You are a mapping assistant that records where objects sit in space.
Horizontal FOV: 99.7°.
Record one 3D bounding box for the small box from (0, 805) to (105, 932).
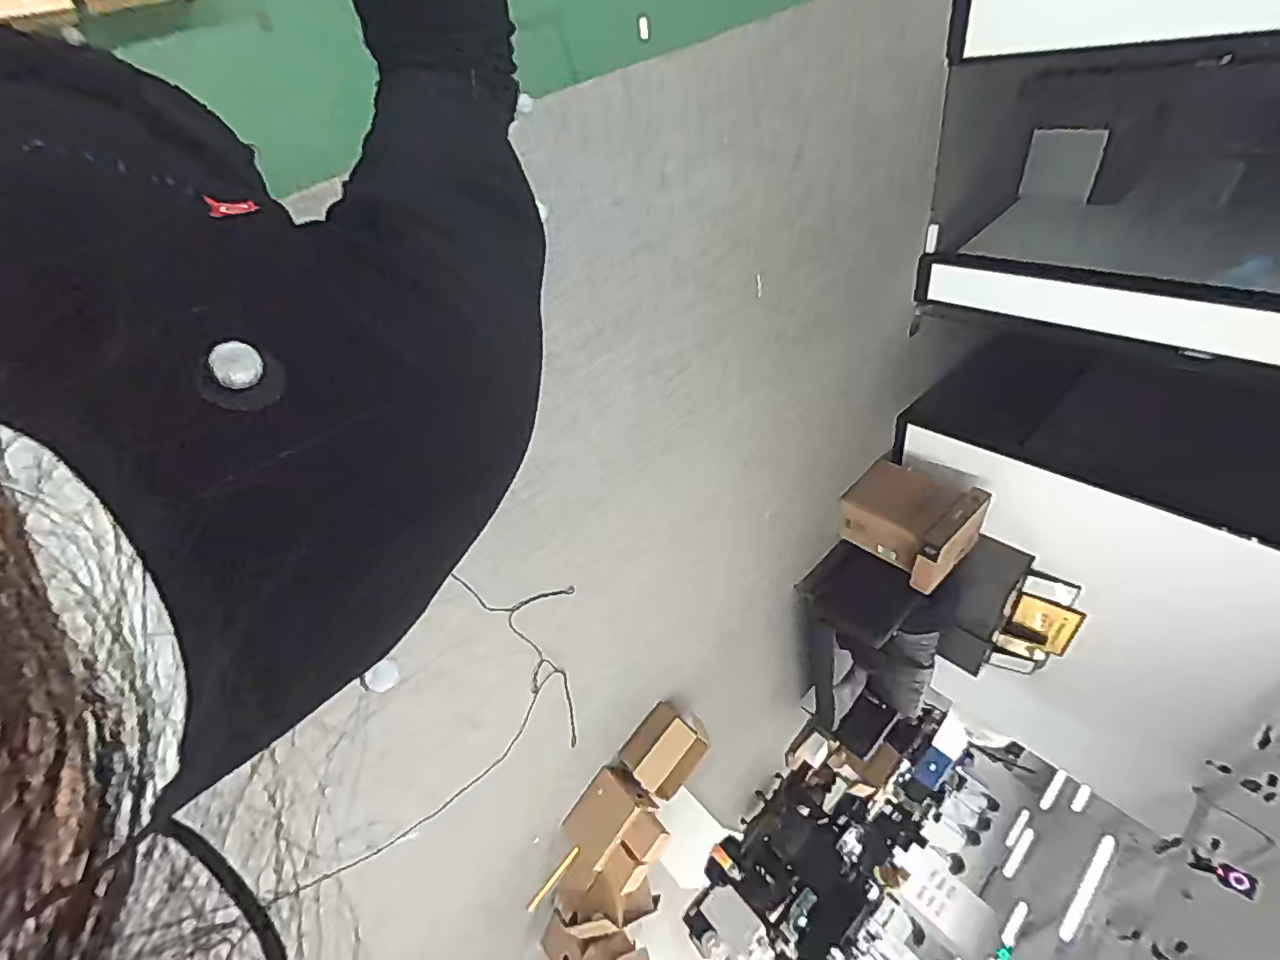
[{"bbox_3d":[-1.445,0.921,1.289,0.179,0.176,0.168,-41,138,-19],"label":"small box"}]
